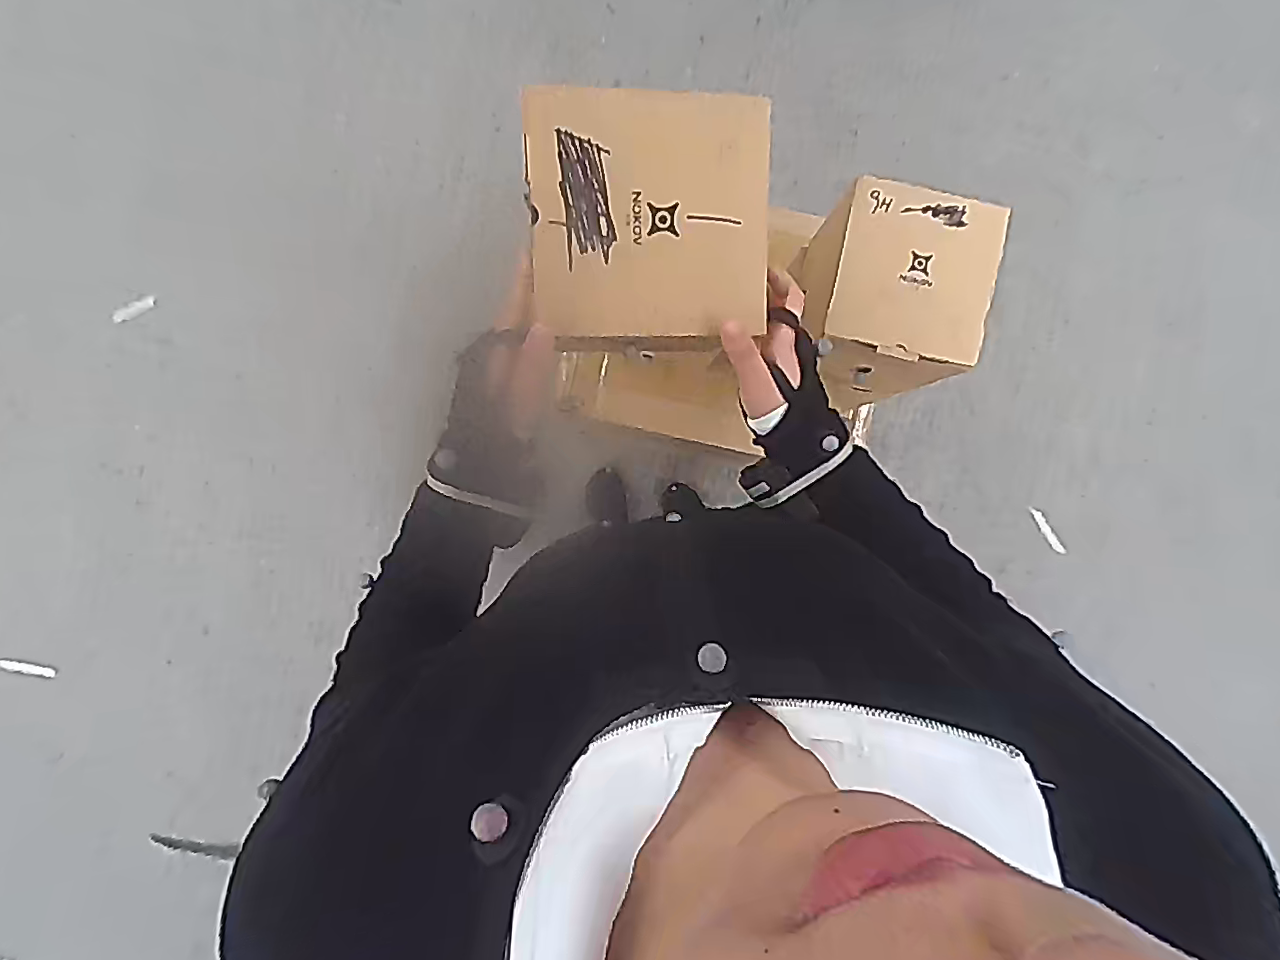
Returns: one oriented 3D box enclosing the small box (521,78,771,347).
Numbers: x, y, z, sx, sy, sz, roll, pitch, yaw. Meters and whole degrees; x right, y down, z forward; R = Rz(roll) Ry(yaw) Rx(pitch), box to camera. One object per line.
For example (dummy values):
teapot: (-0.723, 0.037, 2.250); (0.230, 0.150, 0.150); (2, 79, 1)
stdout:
small box: (-0.002, -0.204, 0.462); (0.179, 0.176, 0.168); (-3, 100, -8)

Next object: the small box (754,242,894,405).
small box: (0.279, -0.222, 0.809); (0.168, 0.176, 0.179); (12, 91, 0)

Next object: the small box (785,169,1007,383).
small box: (0.285, -0.225, 0.645); (0.168, 0.176, 0.179); (13, 91, 0)

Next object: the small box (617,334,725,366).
small box: (0.047, -0.284, 0.804); (0.168, 0.176, 0.179); (11, 91, -1)
